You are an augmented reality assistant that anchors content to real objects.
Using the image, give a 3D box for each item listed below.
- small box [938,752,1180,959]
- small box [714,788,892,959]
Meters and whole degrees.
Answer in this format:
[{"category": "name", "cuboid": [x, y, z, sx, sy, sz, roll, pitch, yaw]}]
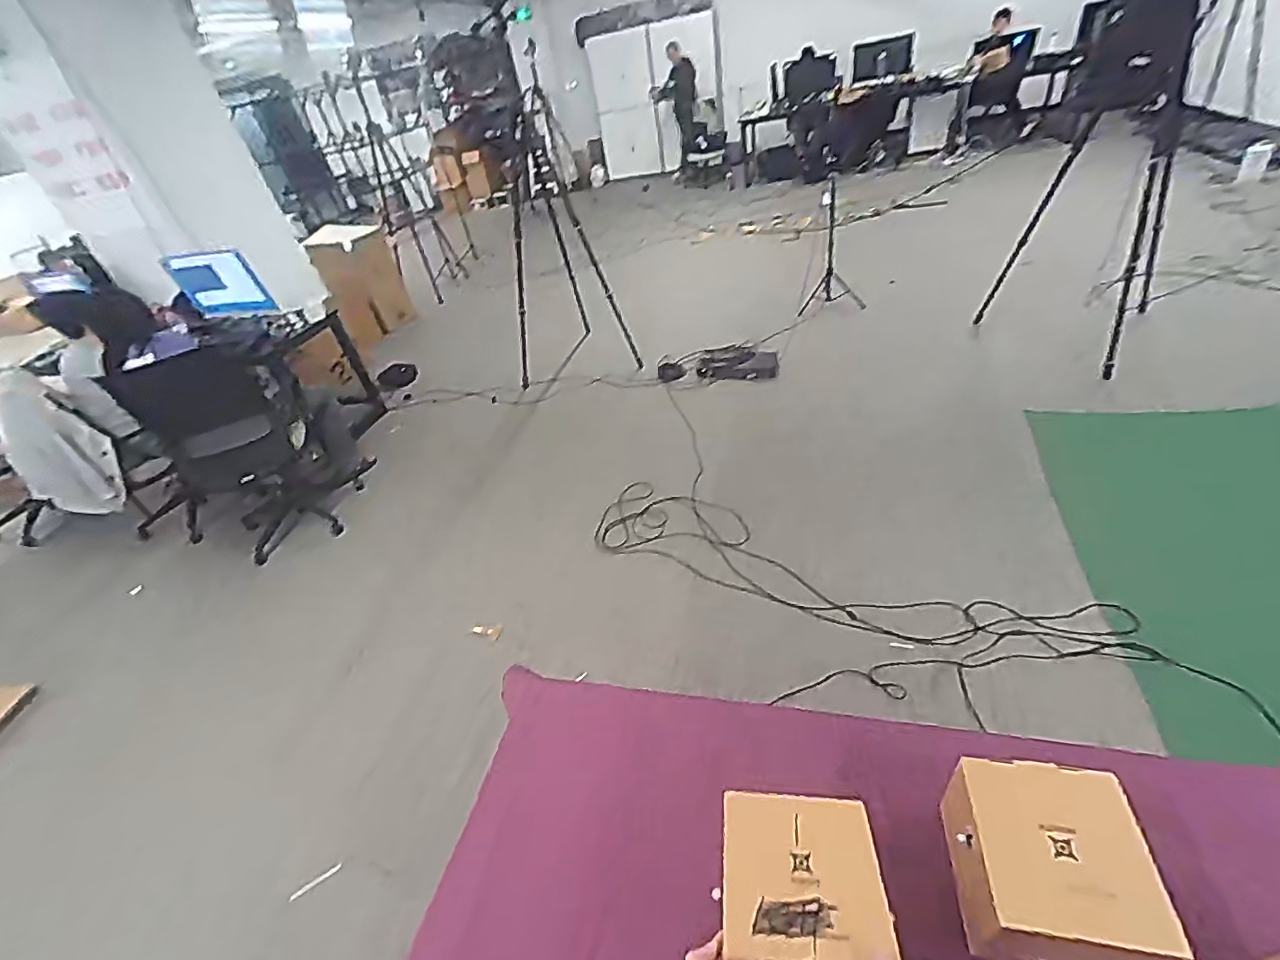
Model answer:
[{"category": "small box", "cuboid": [0.477, 0.465, 0.656, 0.168, 0.176, 0.179, 0, 41, 16]}, {"category": "small box", "cuboid": [0.172, 0.487, 0.606, 0.168, 0.176, 0.179, 0, 25, 10]}]
